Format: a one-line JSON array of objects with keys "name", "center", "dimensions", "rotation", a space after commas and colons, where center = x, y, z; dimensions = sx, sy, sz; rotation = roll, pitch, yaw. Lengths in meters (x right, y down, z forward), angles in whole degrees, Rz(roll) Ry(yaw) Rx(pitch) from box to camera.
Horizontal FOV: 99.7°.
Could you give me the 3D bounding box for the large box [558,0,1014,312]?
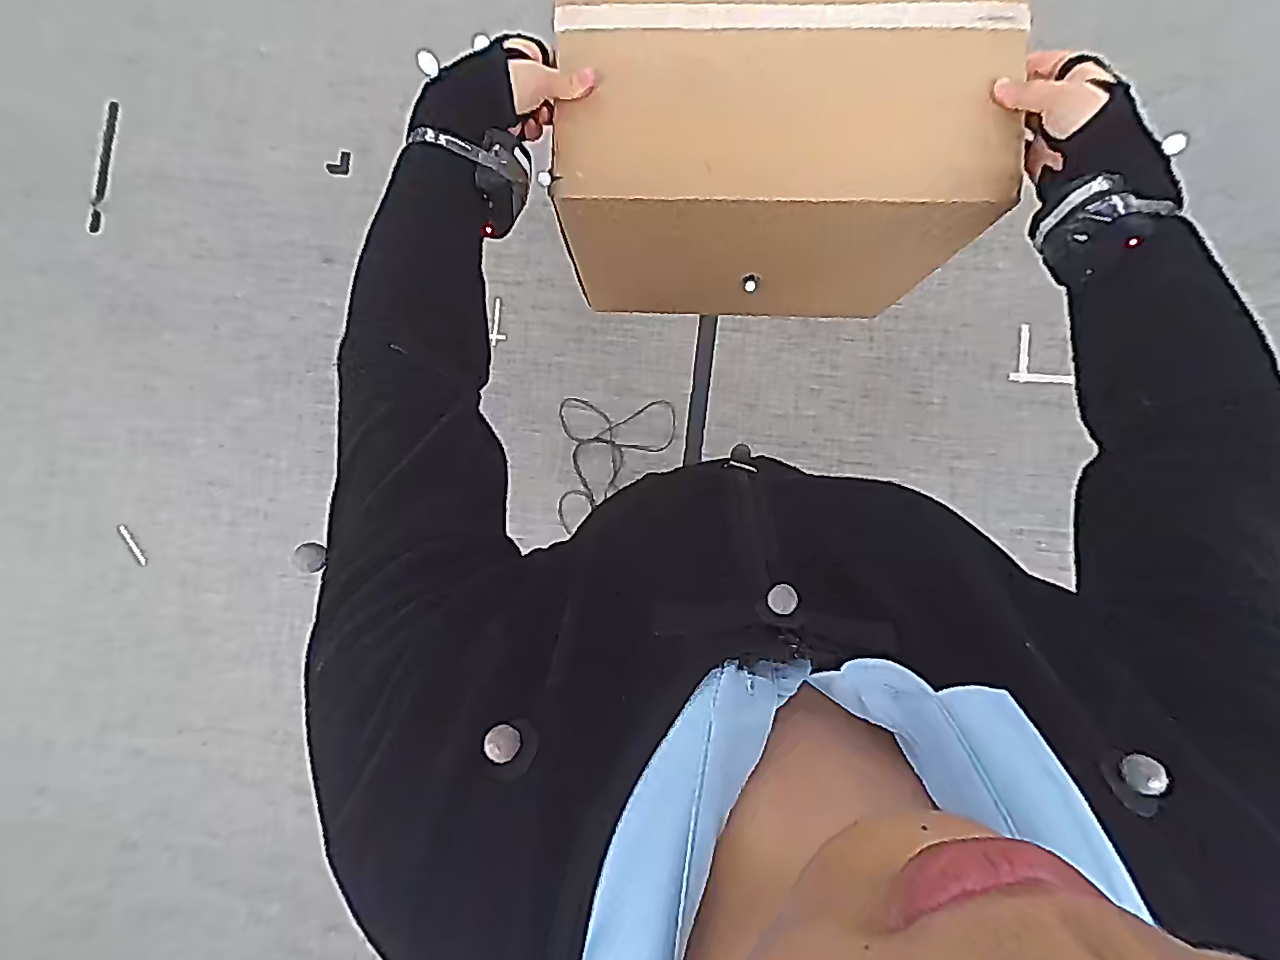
[{"name": "large box", "center": [0.136, -0.395, 0.628], "dimensions": [0.408, 0.320, 0.320], "rotation": [1, 88, 3]}]
